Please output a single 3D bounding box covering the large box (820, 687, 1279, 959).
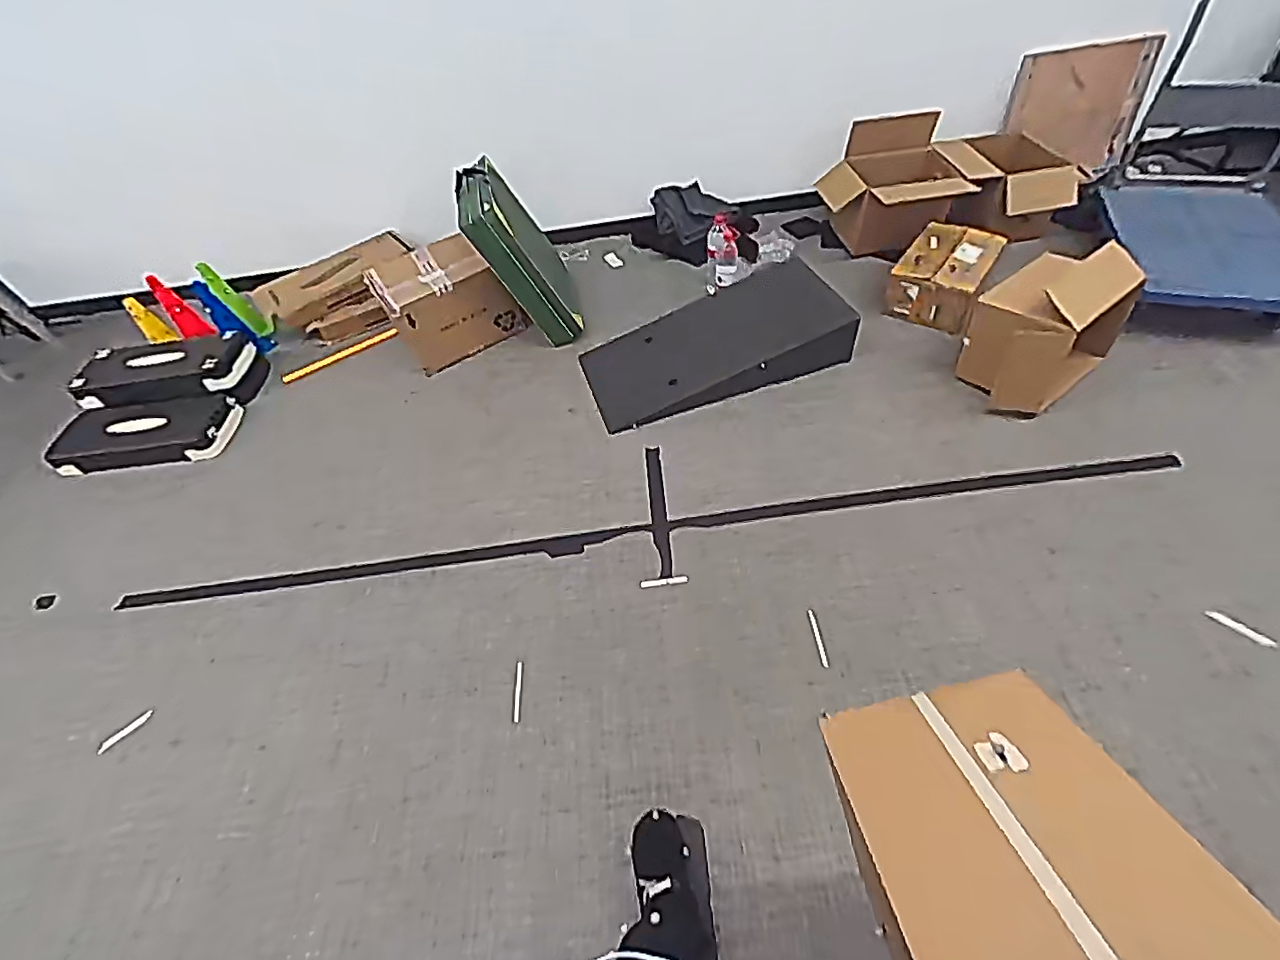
[{"bbox_3d":[0.471,0.547,0.689,0.320,0.320,0.408,-15,14,5],"label":"large box"}]
